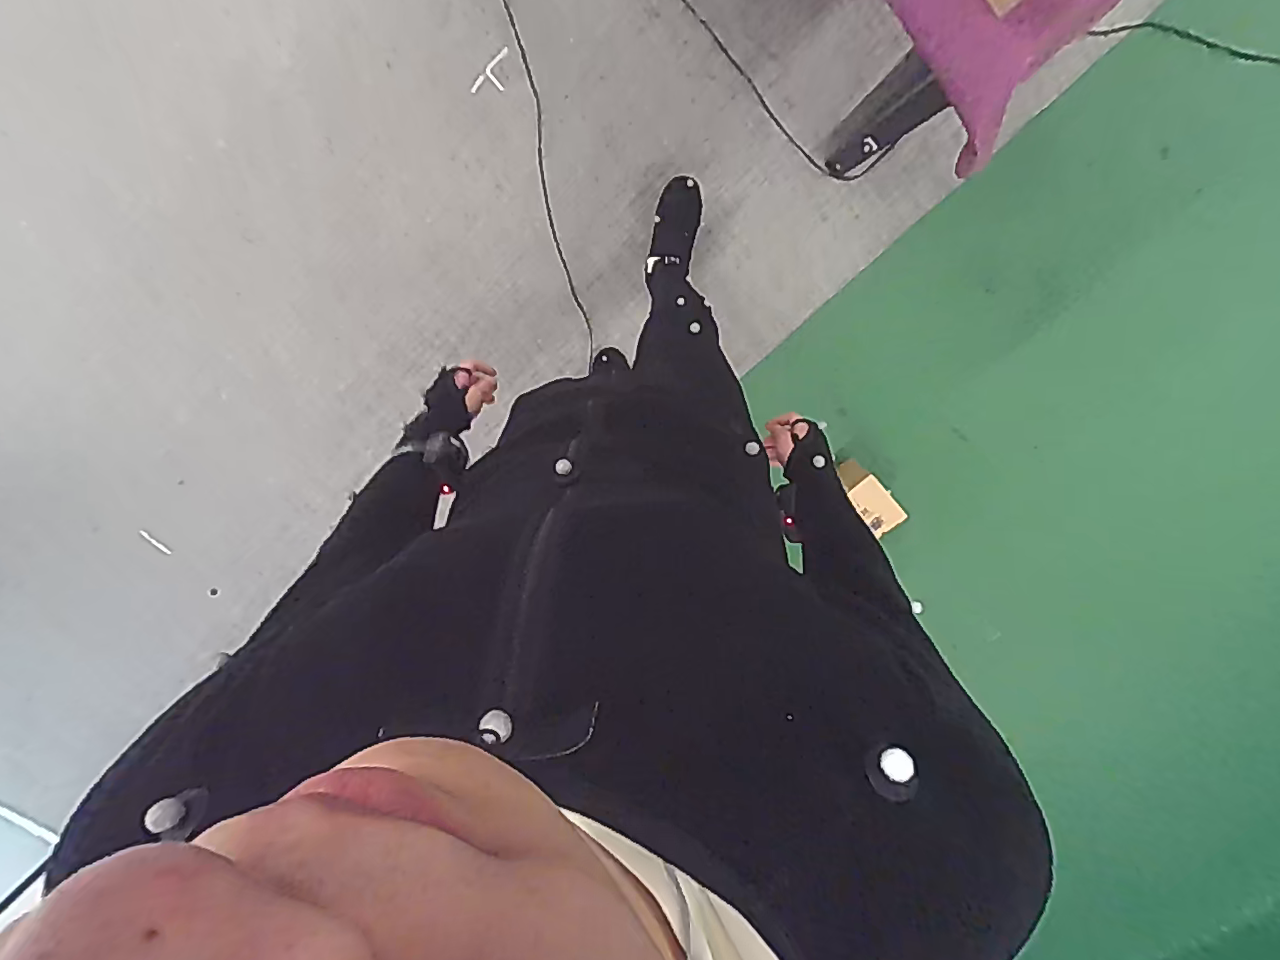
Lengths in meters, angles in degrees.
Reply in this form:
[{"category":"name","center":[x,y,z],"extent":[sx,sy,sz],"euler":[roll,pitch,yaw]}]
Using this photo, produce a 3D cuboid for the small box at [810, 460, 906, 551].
[{"category":"small box","center":[0.629,0.068,1.579],"extent":[0.168,0.176,0.179],"euler":[-42,102,13]}]
